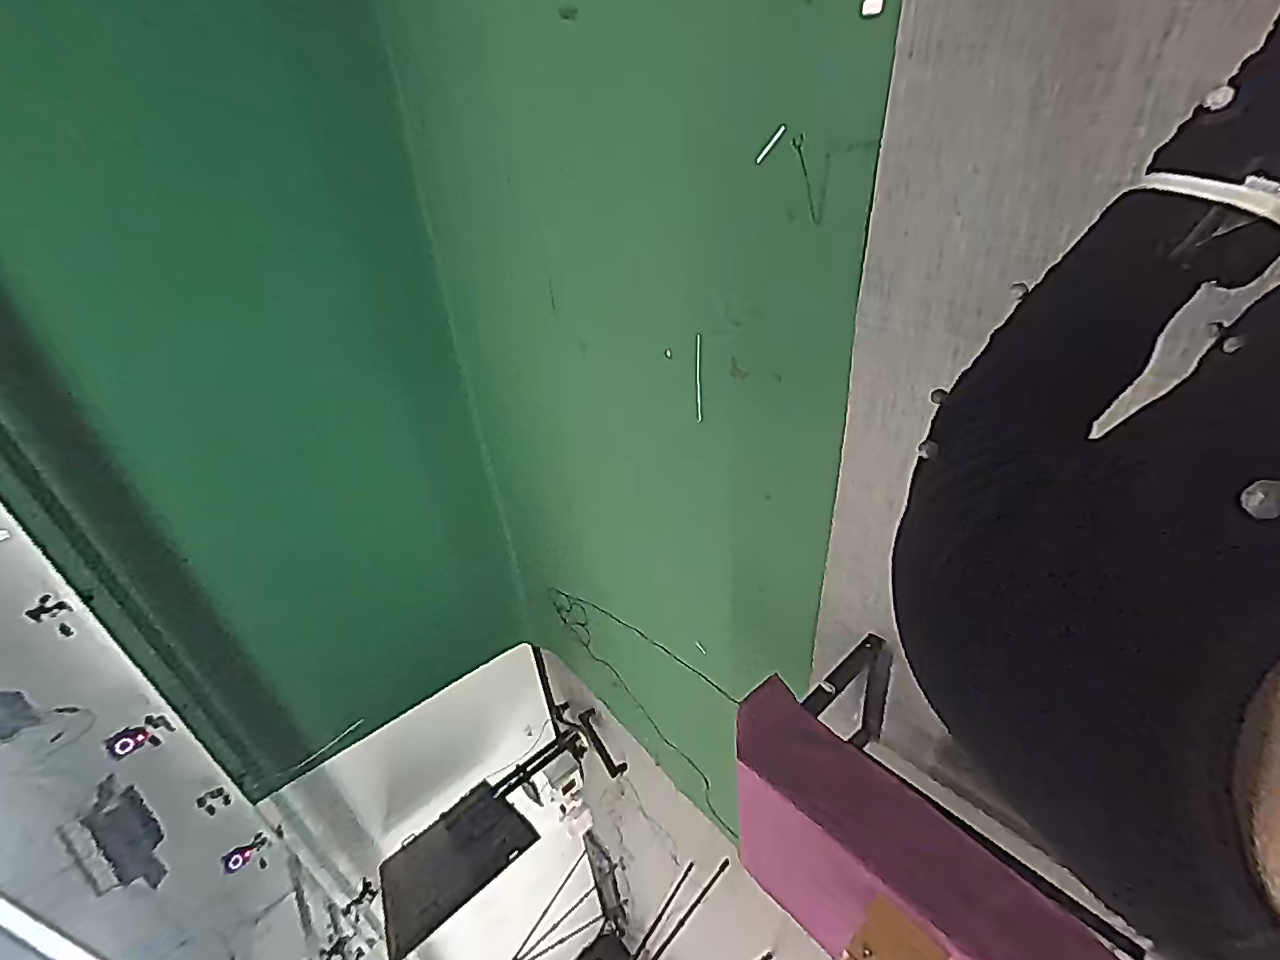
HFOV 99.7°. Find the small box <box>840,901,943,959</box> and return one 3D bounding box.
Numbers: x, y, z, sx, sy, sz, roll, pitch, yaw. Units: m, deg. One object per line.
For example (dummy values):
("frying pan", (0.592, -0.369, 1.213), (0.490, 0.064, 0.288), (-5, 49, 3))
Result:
("small box", (0.582, 1.141, 1.249), (0.179, 0.176, 0.168), (28, 134, 44))
